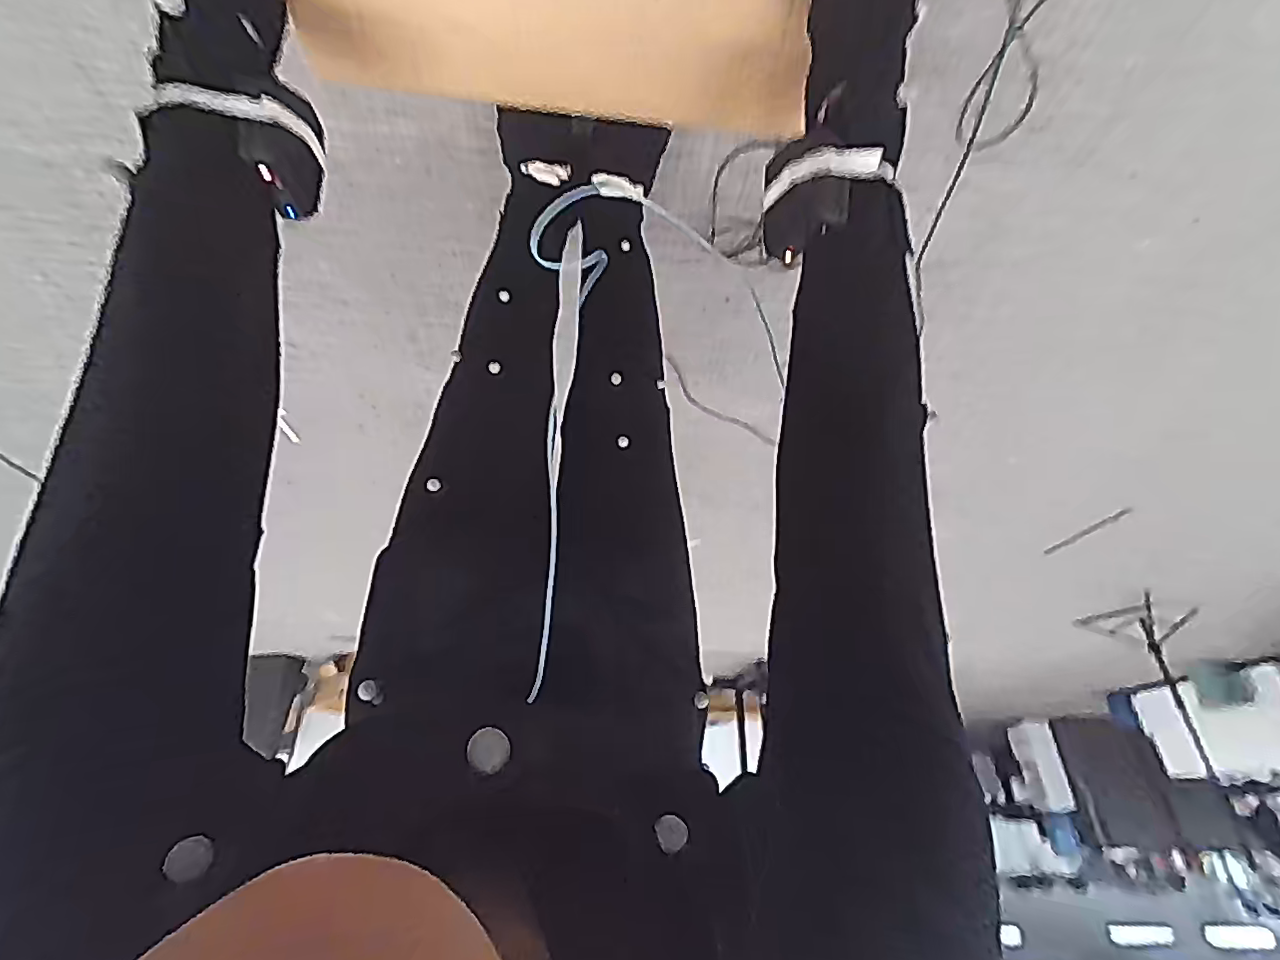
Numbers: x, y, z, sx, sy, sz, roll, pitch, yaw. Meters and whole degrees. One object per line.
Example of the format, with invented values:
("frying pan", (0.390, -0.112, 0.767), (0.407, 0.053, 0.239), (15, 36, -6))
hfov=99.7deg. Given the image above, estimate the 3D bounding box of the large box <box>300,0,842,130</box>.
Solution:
("large box", (-0.042, -0.518, 0.412), (0.408, 0.320, 0.320), (4, 146, -3))
